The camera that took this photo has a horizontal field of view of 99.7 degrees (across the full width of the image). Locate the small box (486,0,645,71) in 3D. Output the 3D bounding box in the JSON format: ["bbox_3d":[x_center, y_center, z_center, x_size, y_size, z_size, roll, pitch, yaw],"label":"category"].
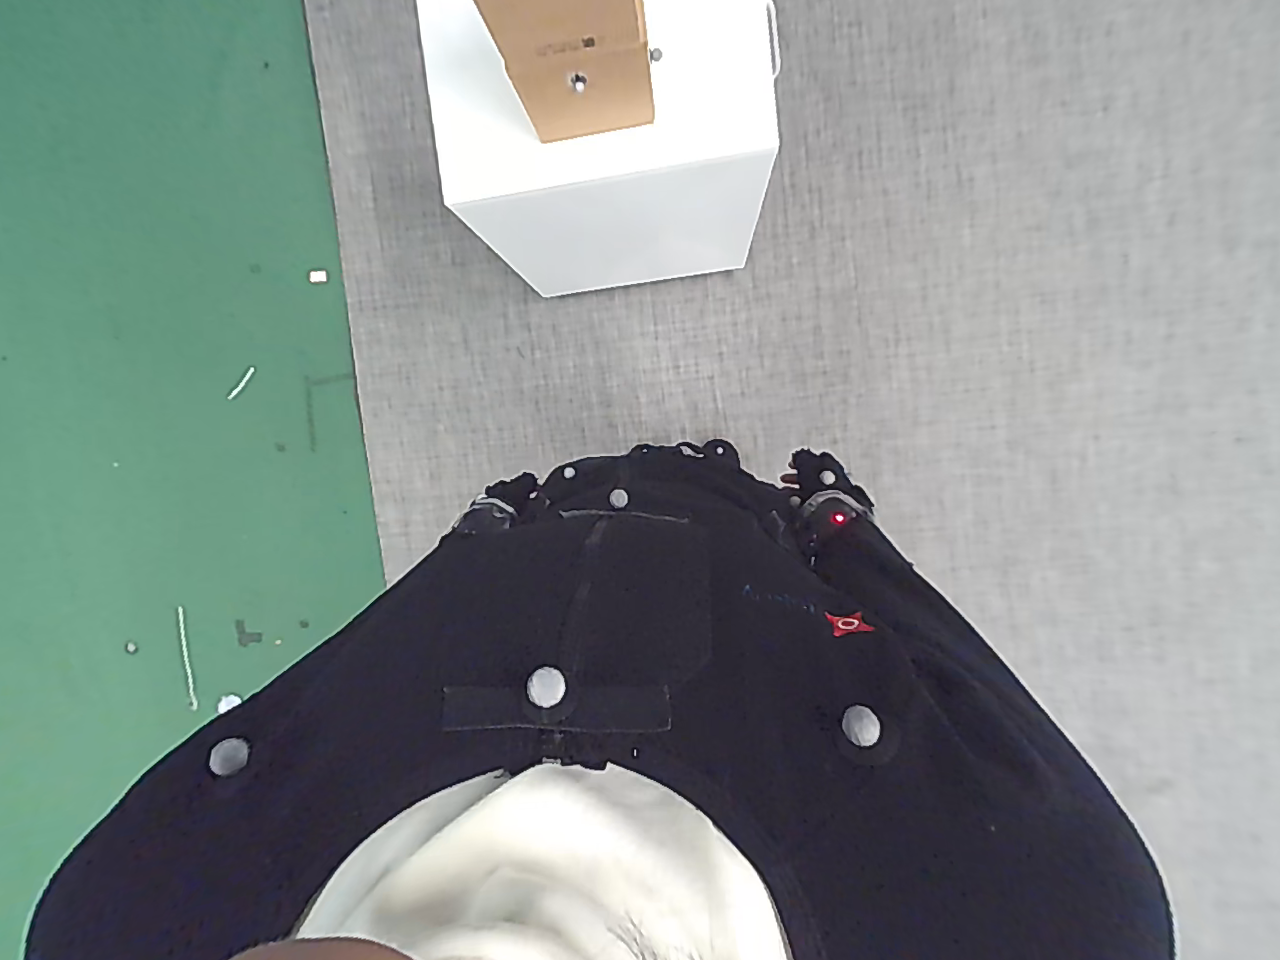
[{"bbox_3d":[-0.090,-0.581,0.561,0.168,0.176,0.179,-8,94,5],"label":"small box"}]

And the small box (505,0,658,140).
[{"bbox_3d":[-0.075,-0.589,0.721,0.179,0.176,0.168,-7,94,5],"label":"small box"}]
